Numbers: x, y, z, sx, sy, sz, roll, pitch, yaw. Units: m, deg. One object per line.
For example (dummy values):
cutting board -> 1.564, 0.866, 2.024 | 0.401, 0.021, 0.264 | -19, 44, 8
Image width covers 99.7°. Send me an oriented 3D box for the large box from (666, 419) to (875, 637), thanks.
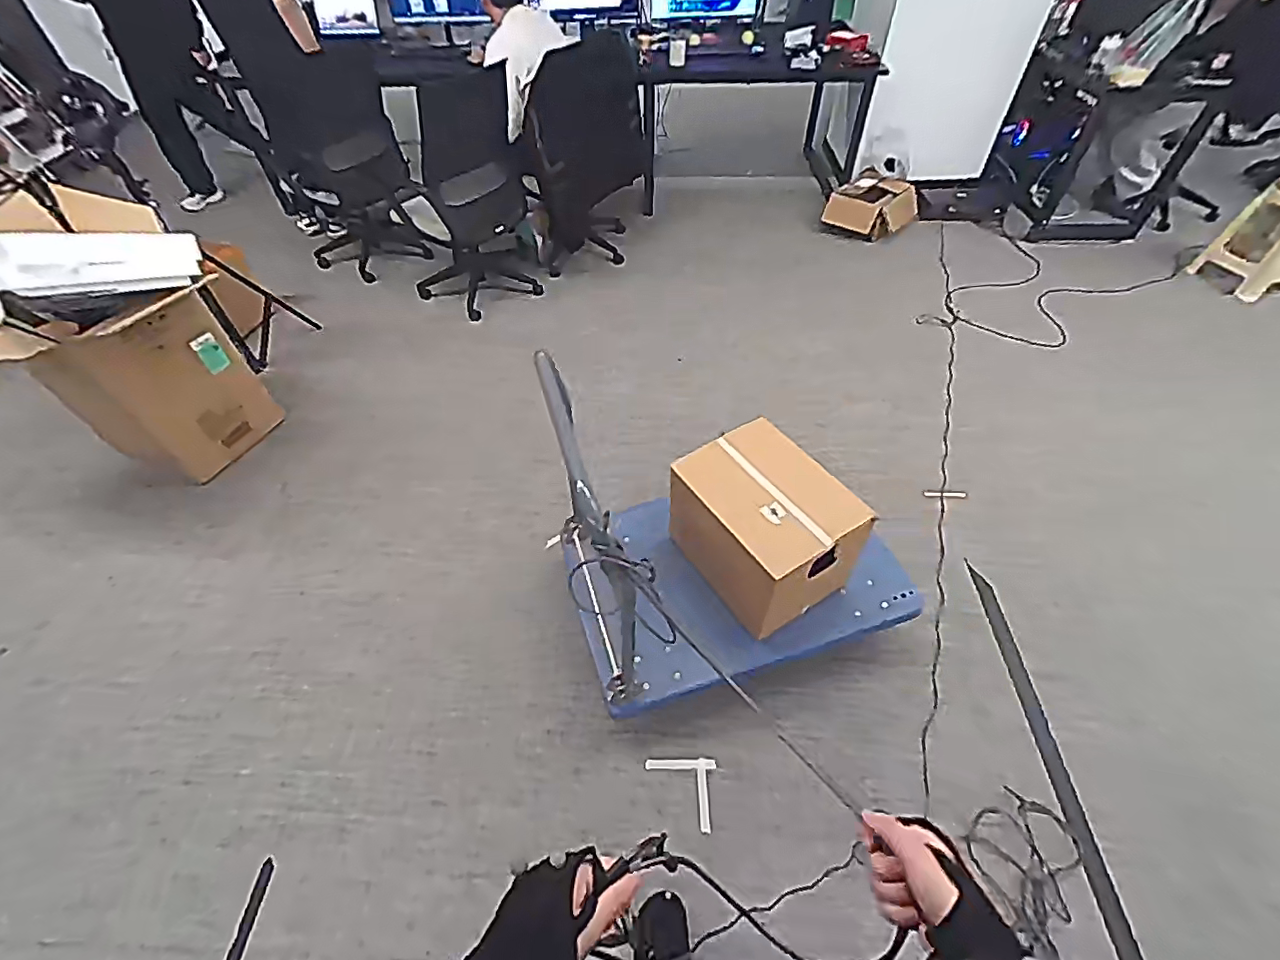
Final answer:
large box -> 0.306, 0.117, 1.404 | 0.320, 0.320, 0.408 | -28, 55, -19
